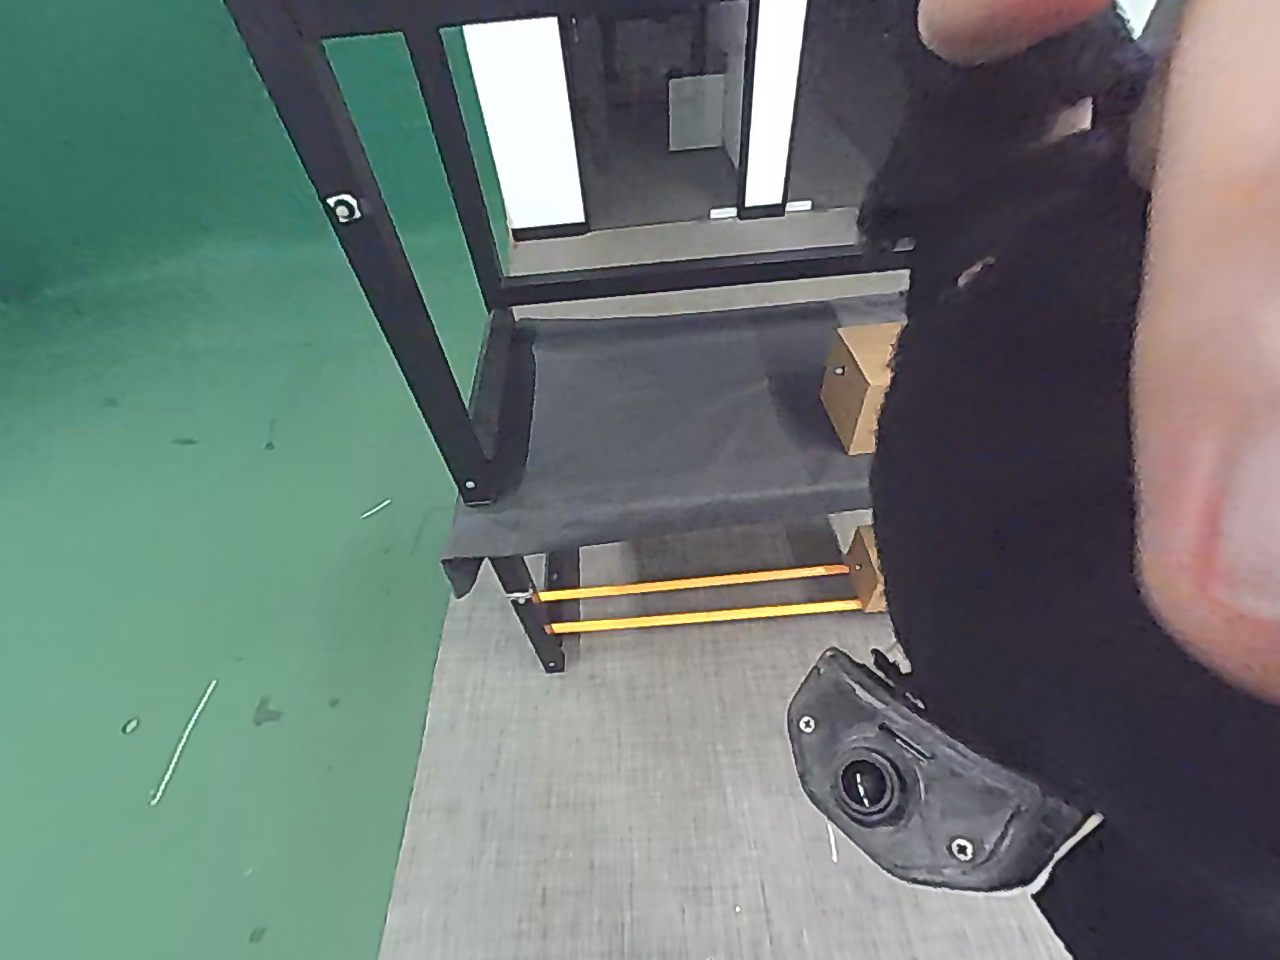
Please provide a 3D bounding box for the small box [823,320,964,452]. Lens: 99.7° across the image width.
[{"bbox_3d":[0.458,-0.175,1.014,0.168,0.176,0.179,-6,47,0],"label":"small box"}]
